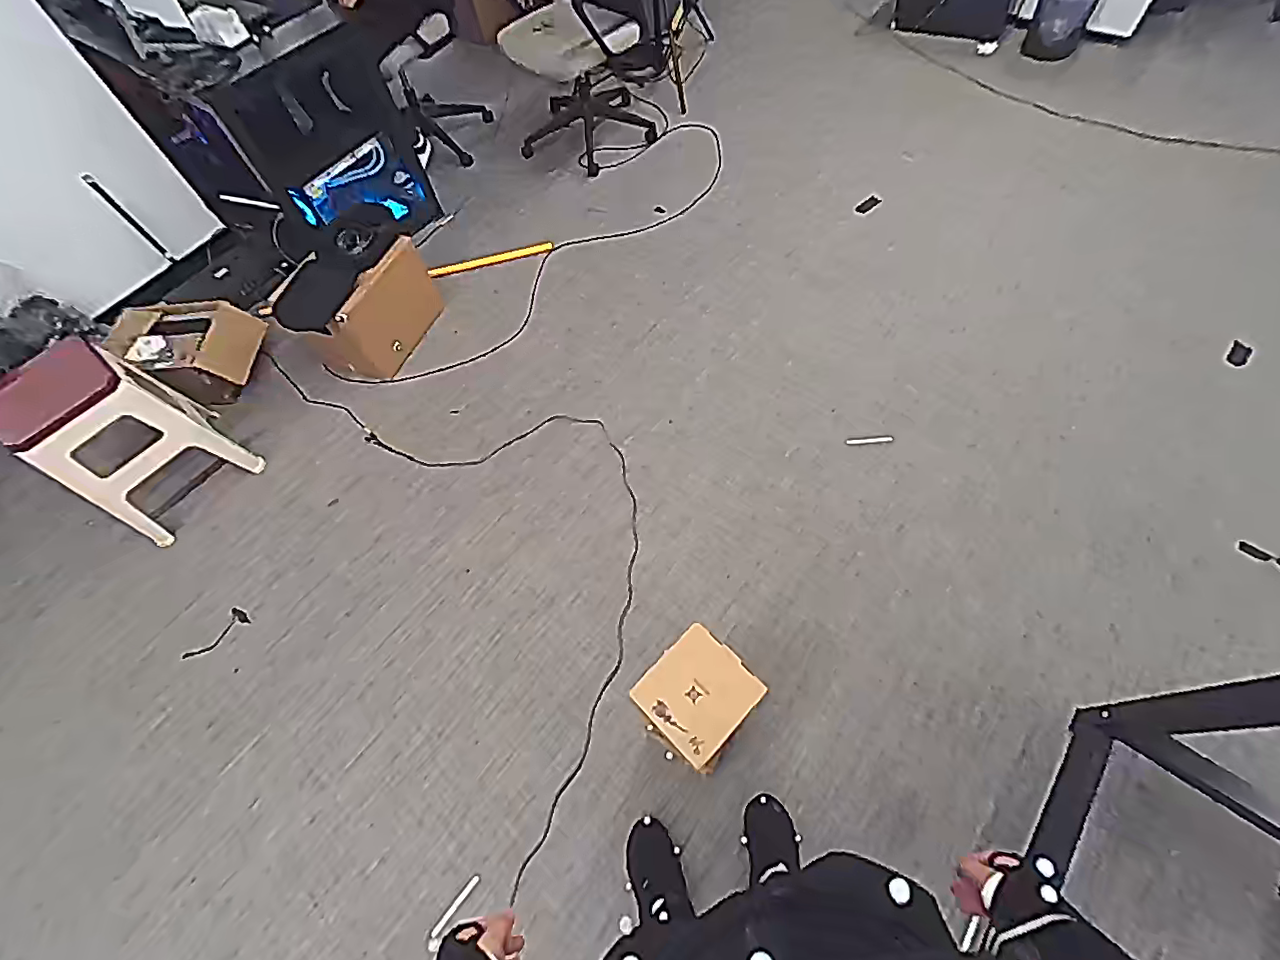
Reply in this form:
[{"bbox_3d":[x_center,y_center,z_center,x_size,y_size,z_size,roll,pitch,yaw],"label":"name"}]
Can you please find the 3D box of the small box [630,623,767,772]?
[{"bbox_3d":[0.100,0.394,0.974,0.179,0.176,0.168,-42,66,-18],"label":"small box"}]
